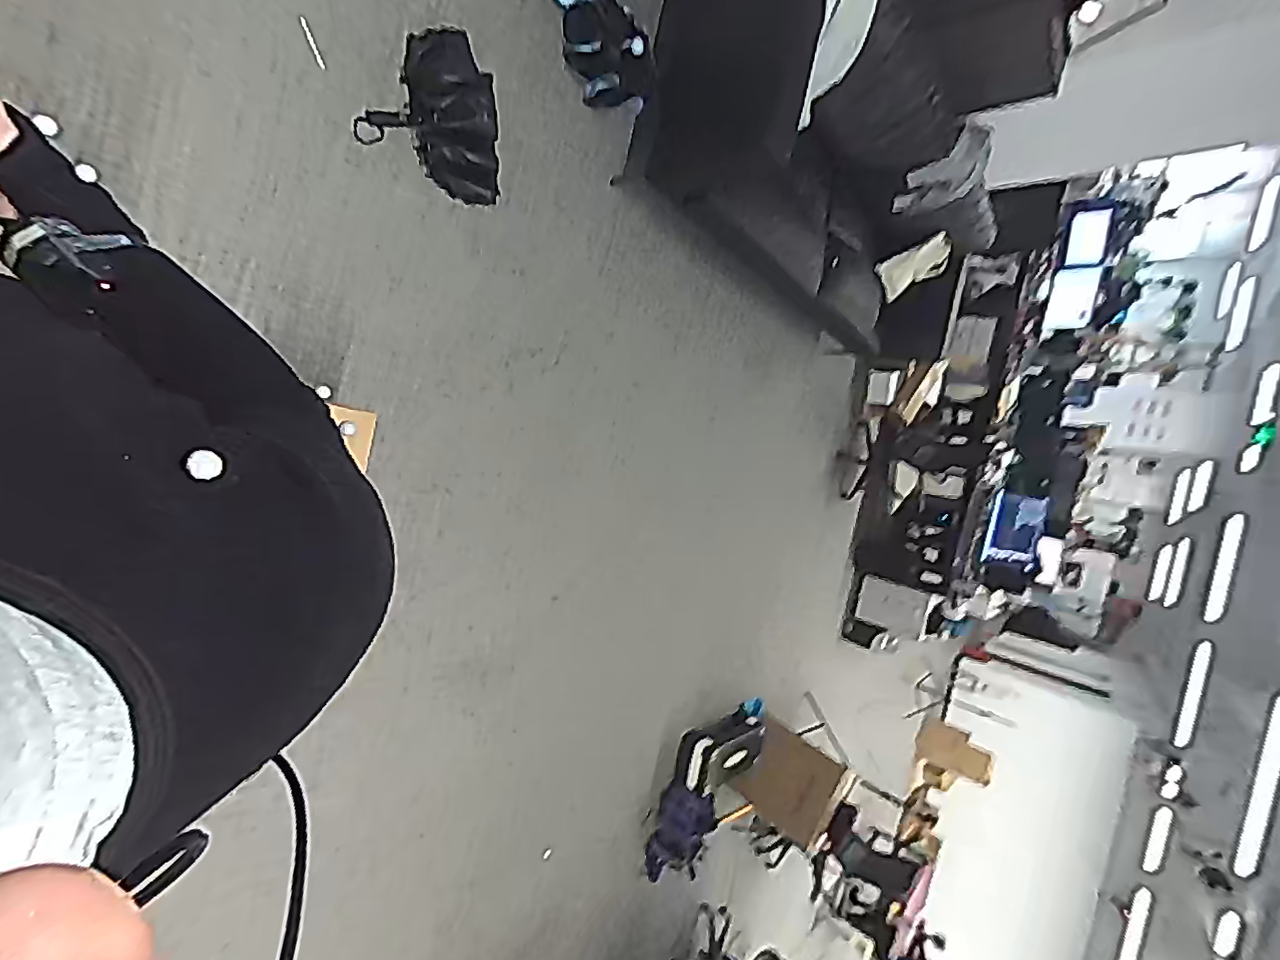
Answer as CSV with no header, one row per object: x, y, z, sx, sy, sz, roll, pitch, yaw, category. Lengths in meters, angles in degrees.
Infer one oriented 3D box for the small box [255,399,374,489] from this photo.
-0.738,-0.082,1.220,0.179,0.176,0.168,9,95,-51,small box
